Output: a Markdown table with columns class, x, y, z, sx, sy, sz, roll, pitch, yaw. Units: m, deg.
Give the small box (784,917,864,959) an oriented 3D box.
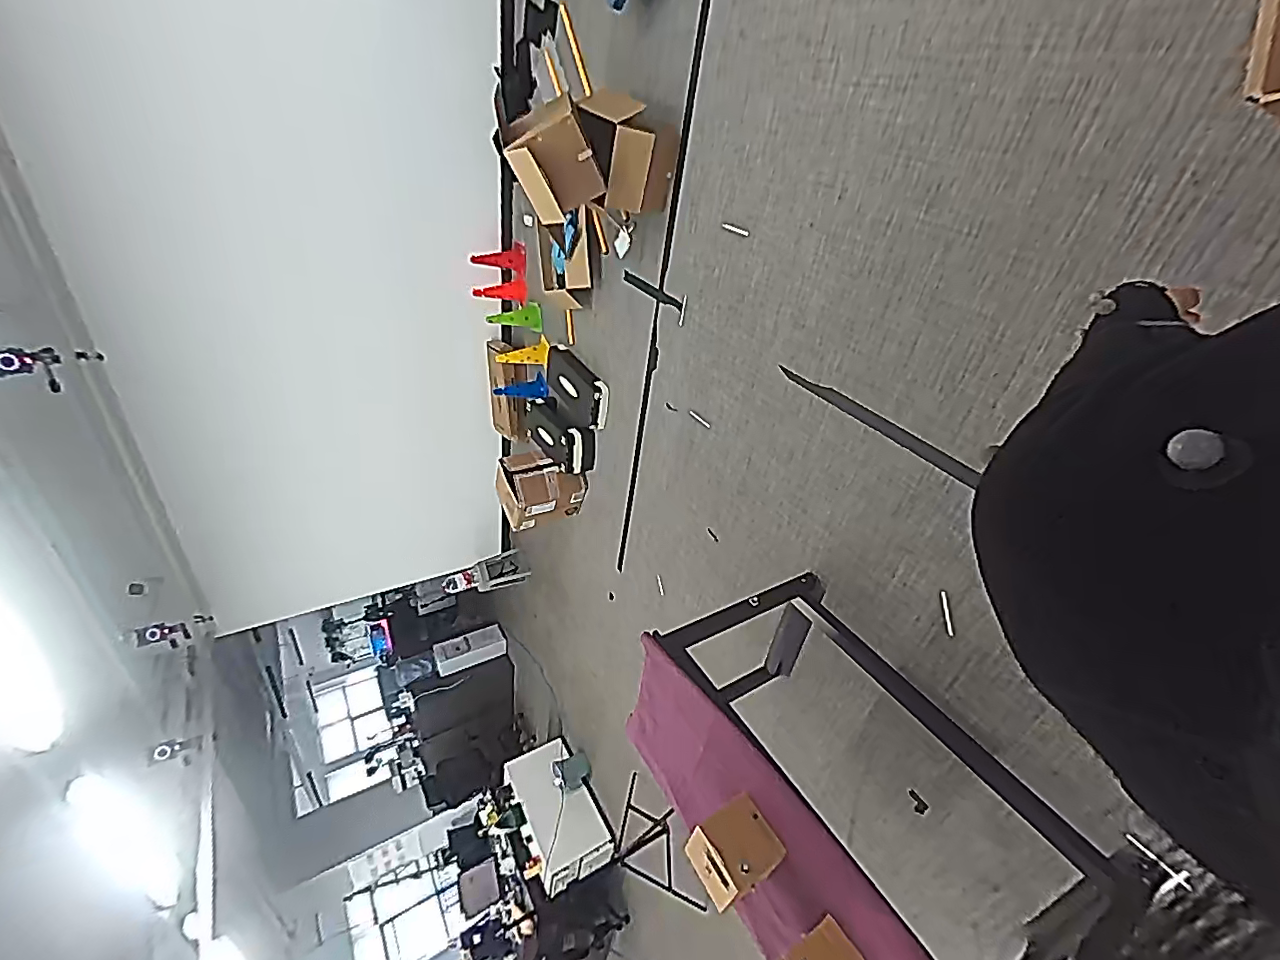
| class | x | y | z | sx | sy | sz | roll | pitch | yaw |
| --- | --- | --- | --- | --- | --- | --- | --- | --- | --- |
| small box | 0.420 | 1.137 | 1.200 | 0.179 | 0.176 | 0.168 | 43 | 136 | 45 |
